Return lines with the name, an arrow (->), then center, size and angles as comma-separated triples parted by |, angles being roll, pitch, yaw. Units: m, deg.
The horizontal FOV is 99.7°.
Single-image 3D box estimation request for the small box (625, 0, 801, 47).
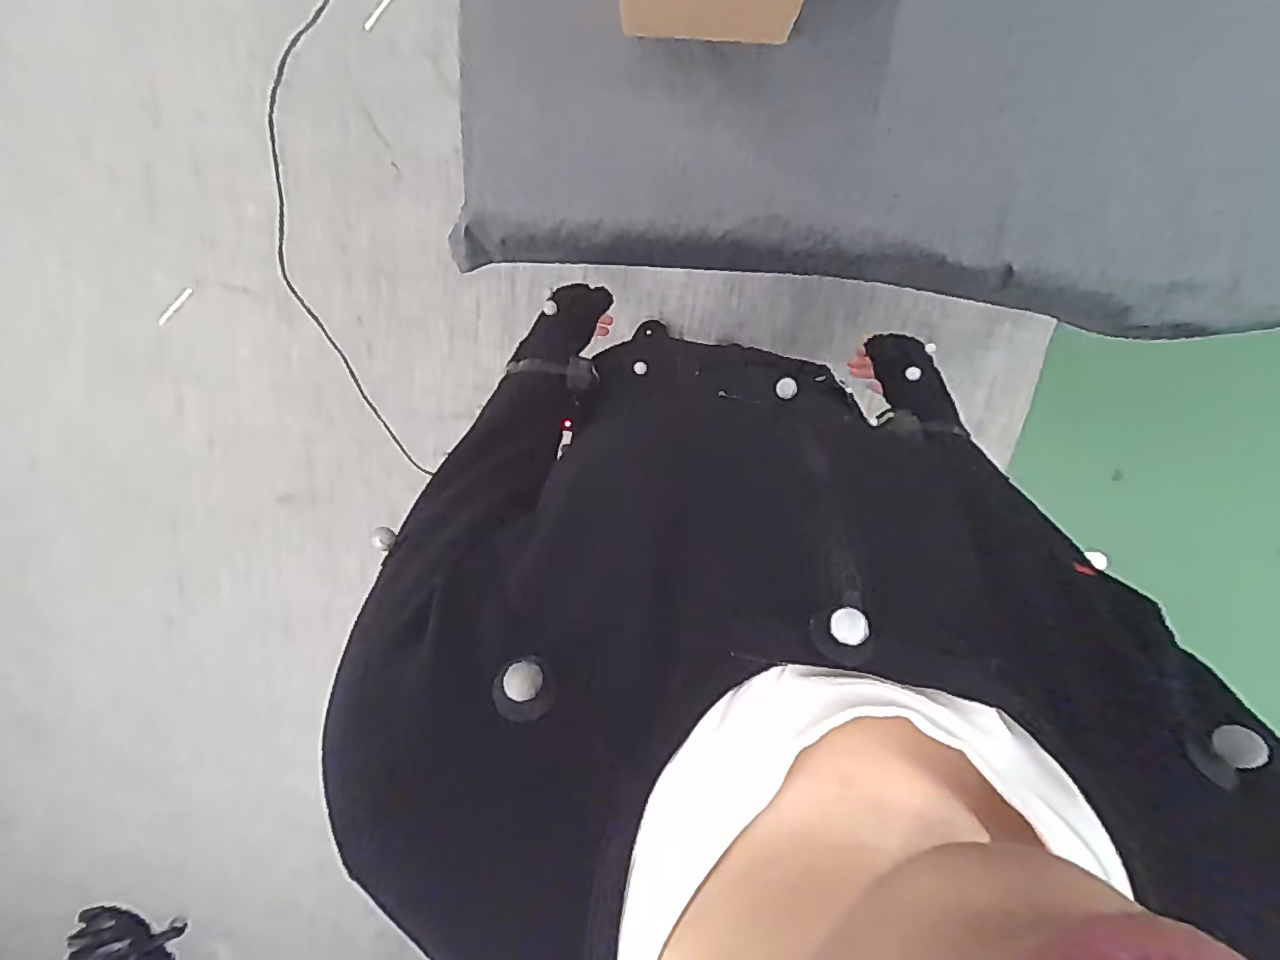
small box -> 0.074, -0.528, 0.488 | 0.179, 0.176, 0.168 | 4, 107, 0
